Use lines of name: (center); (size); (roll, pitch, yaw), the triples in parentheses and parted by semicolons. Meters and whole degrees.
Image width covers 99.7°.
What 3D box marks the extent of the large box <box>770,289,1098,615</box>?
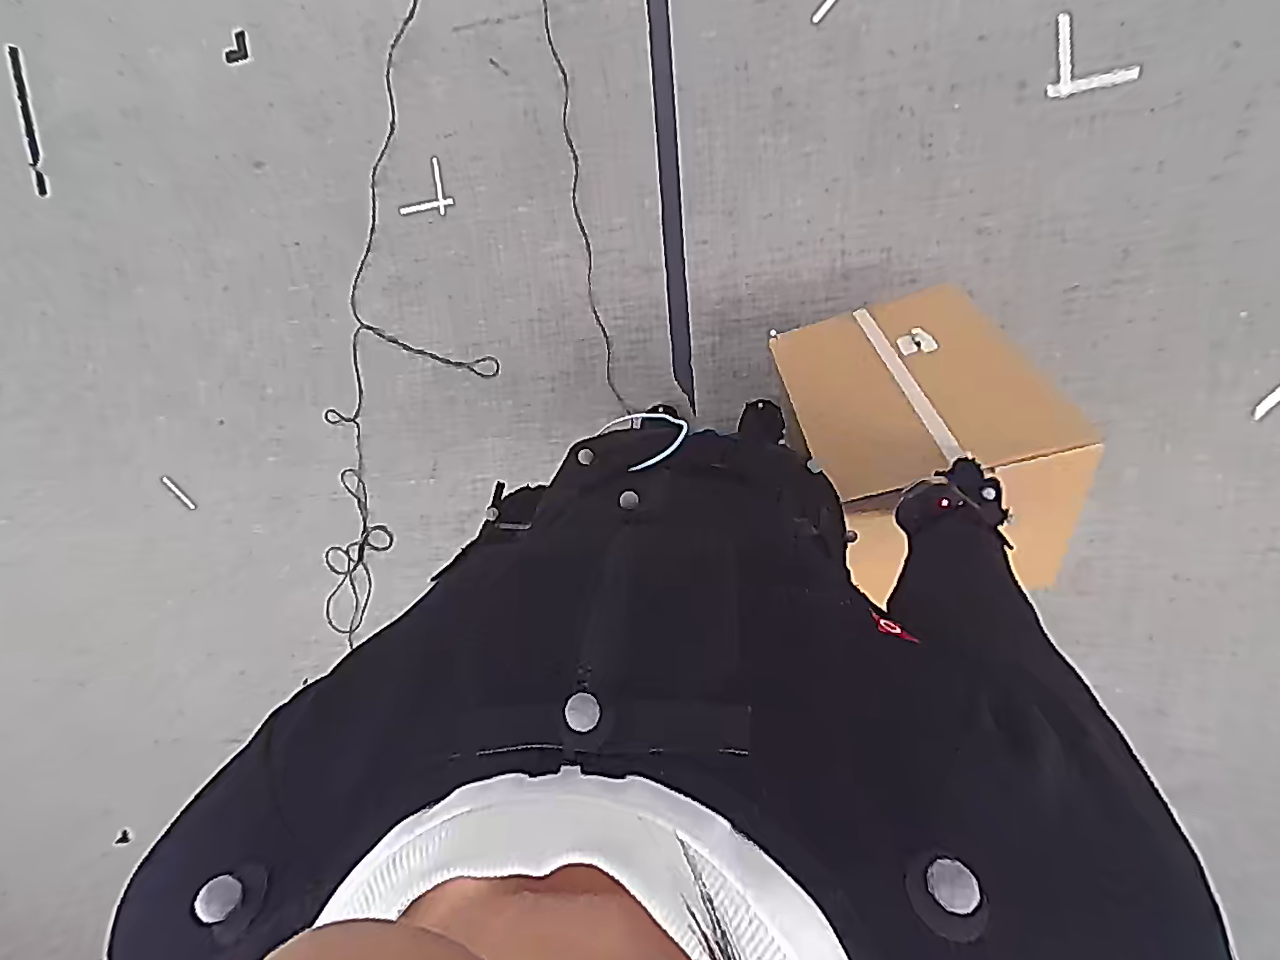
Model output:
large box: (0.436, -0.048, 0.902); (0.320, 0.408, 0.320); (-15, 133, 10)
